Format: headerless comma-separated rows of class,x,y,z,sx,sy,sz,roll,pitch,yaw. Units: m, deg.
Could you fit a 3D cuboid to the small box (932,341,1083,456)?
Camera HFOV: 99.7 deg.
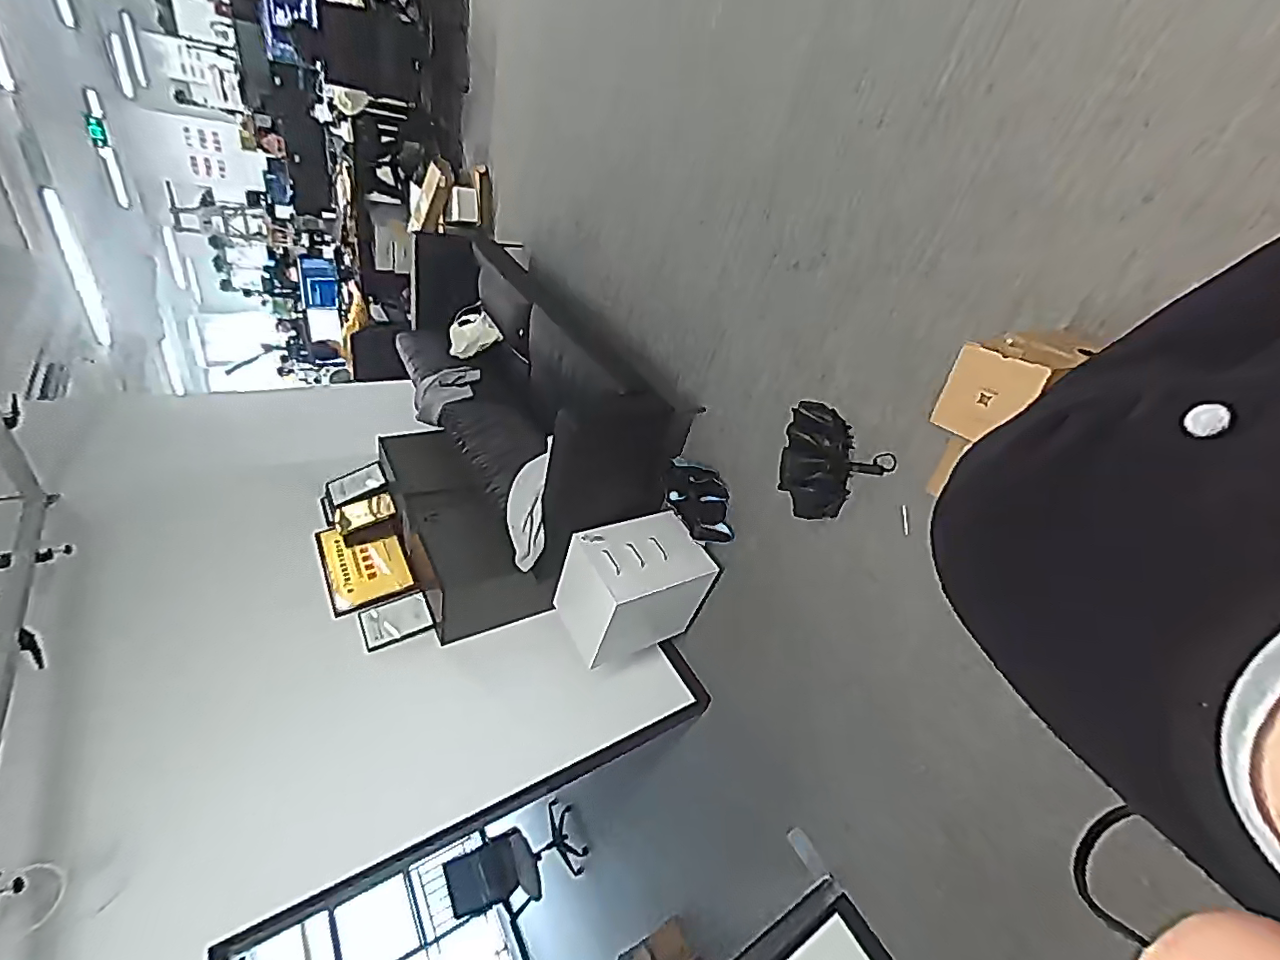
small box,0.732,-0.170,1.077,0.168,0.176,0.179,43,135,46
